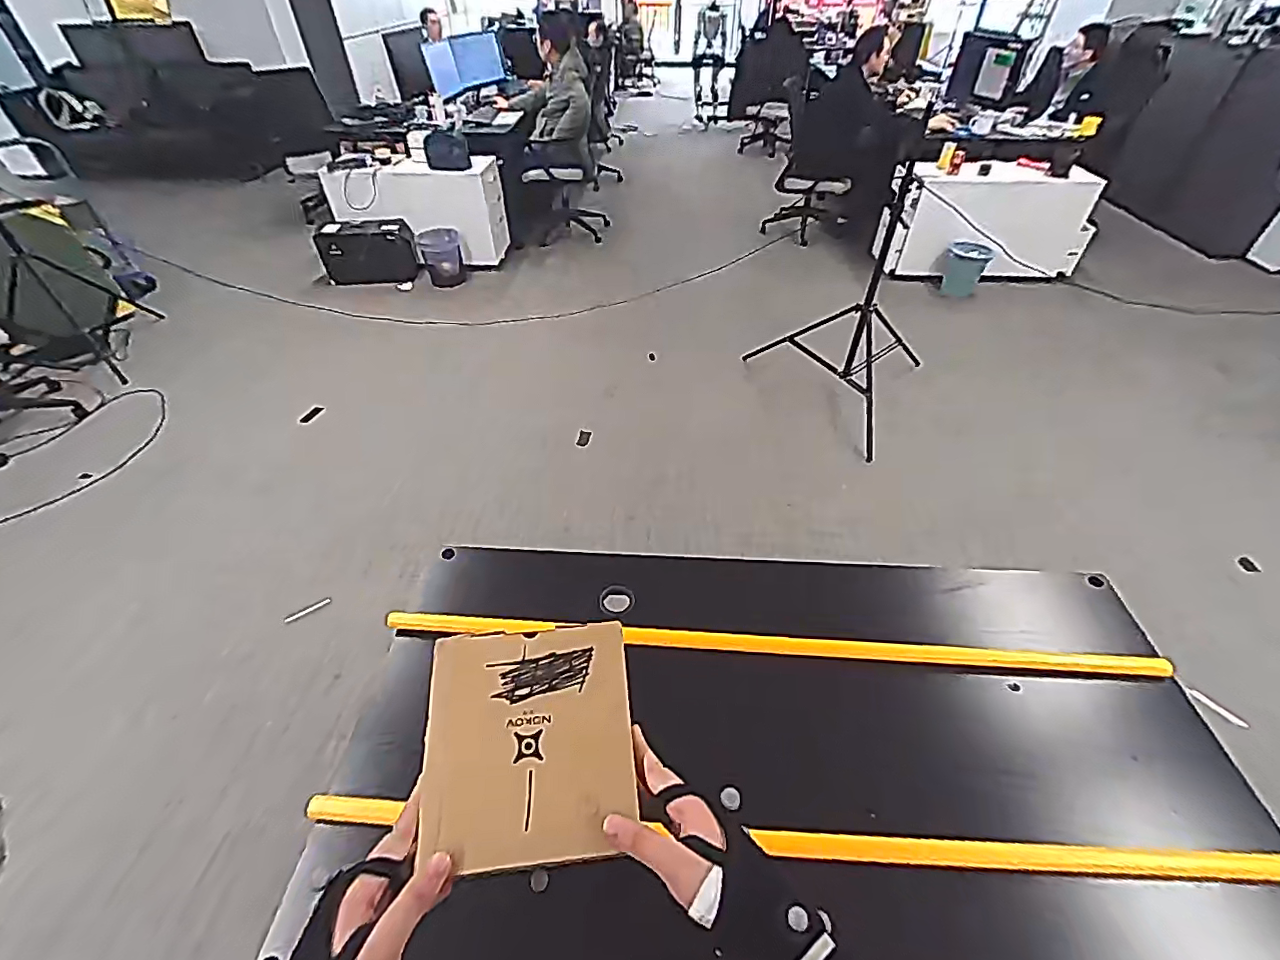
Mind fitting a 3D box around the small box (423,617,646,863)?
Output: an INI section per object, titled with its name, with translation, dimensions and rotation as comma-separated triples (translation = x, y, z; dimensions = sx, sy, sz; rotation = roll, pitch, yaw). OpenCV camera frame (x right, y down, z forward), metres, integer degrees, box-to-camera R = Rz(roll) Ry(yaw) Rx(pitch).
[small box]
translation = -0.087, 0.246, 0.508
dimensions = 0.168, 0.176, 0.179
rotation = -3, 56, -5
